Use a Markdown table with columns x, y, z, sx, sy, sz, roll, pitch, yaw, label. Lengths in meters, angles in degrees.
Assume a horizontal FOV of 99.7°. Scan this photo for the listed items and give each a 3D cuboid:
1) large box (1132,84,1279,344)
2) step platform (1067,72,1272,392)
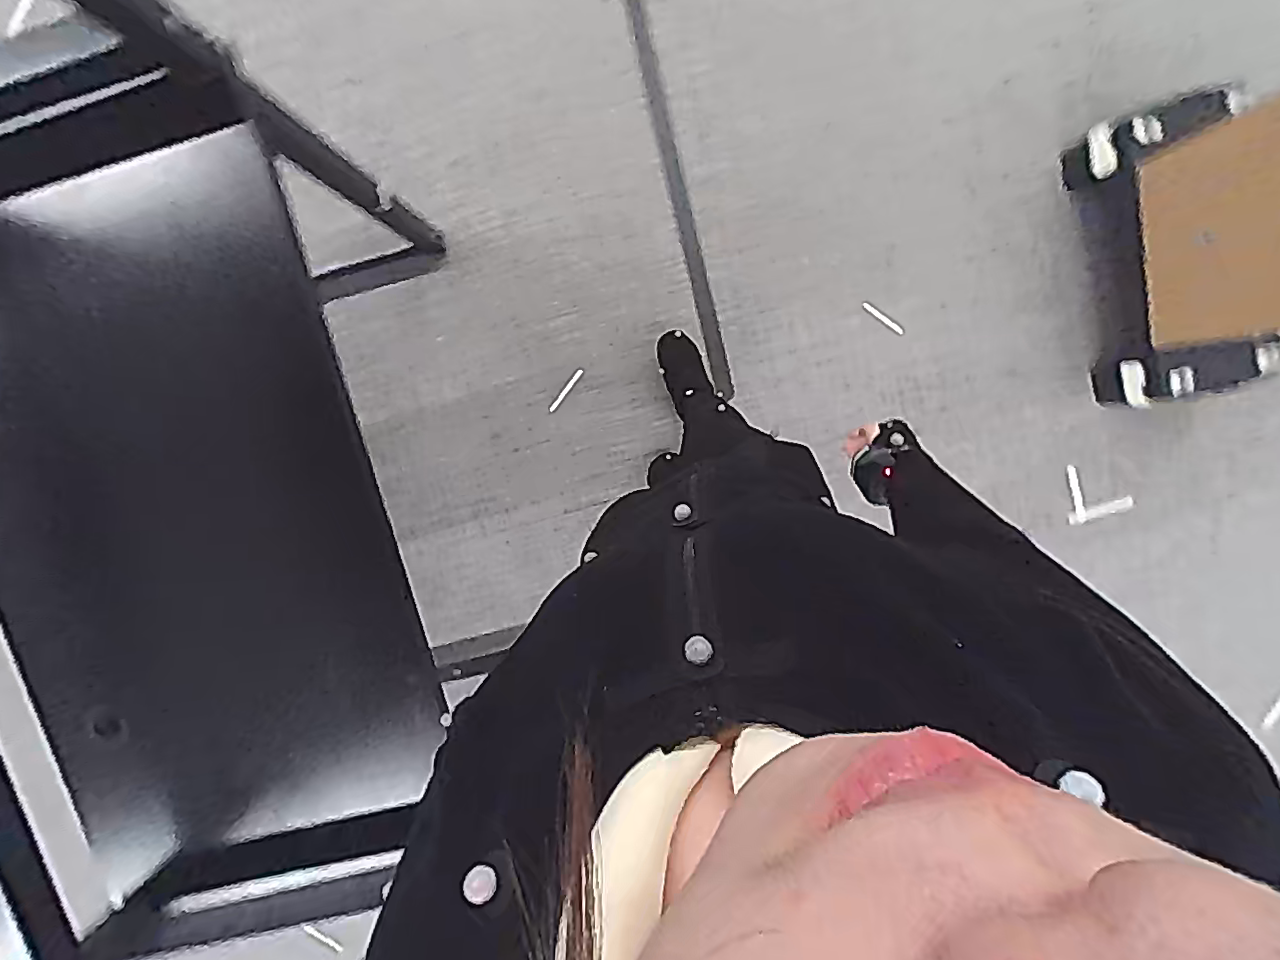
| x | y | z | sx | sy | sz | roll | pitch | yaw | label |
| --- | --- | --- | --- | --- | --- | --- | --- | --- | --- |
| 1.263 | -0.515 | 1.052 | 0.320 | 0.320 | 0.408 | -12 | 95 | 2 | large box |
| 1.253 | -0.560 | 1.287 | 0.286 | 0.204 | 0.684 | -10 | 96 | 3 | step platform |
